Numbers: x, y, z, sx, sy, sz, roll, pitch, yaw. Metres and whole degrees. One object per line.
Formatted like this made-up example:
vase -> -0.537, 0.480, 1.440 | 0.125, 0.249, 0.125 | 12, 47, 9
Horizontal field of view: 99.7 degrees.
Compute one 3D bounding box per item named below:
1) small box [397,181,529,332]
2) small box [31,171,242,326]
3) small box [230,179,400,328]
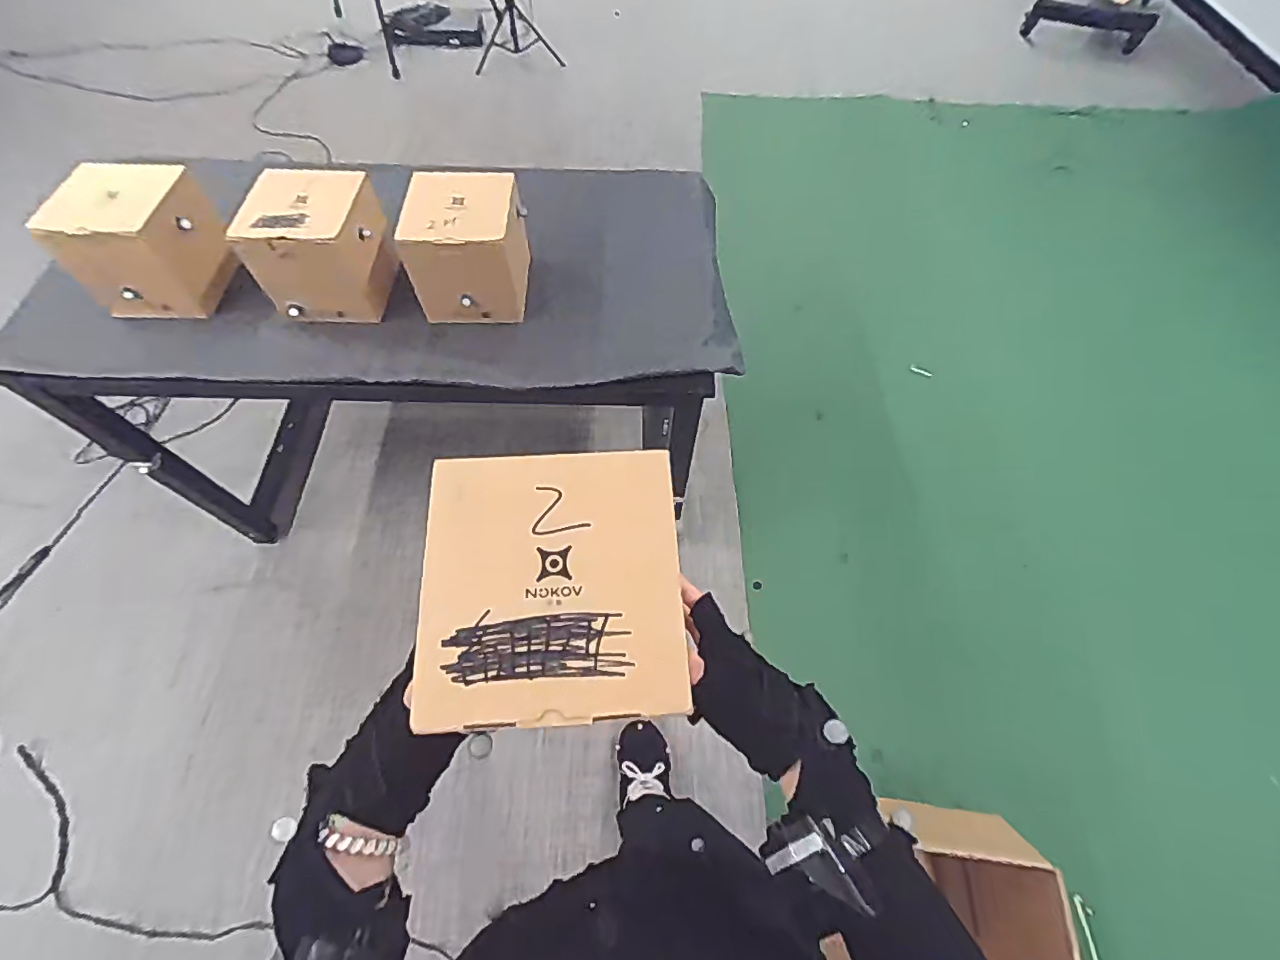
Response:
small box -> -0.286, -0.377, 0.920 | 0.168, 0.176, 0.179 | 0, 60, -2
small box -> -0.817, -0.384, 0.906 | 0.168, 0.176, 0.179 | 1, 59, -2
small box -> -0.529, -0.377, 0.913 | 0.168, 0.176, 0.179 | 1, 60, -1
